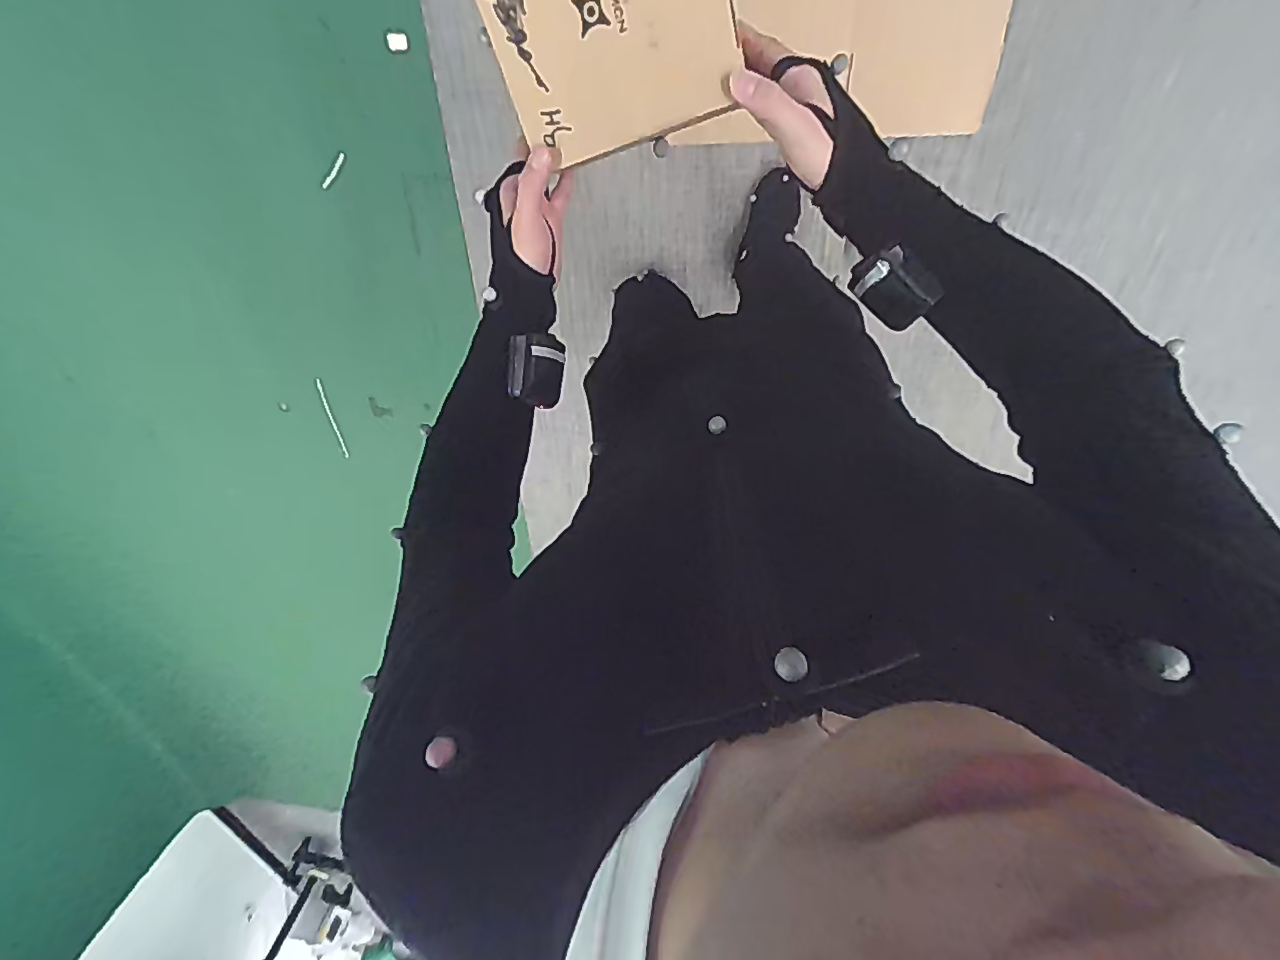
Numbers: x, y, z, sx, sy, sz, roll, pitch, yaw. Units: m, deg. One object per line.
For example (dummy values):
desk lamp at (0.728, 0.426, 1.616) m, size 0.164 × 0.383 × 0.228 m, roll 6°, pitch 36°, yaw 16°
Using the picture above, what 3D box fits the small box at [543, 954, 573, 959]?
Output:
small box at (-0.212, 1.496, 1.546) m, size 0.179 × 0.176 × 0.168 m, roll 6°, pitch 124°, yaw 7°

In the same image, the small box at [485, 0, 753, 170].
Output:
small box at (-0.011, -0.378, 0.447) m, size 0.179 × 0.176 × 0.168 m, roll -10°, pitch 120°, yaw 15°

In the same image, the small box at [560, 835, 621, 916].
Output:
small box at (-0.159, 1.328, 1.822) m, size 0.179 × 0.176 × 0.168 m, roll 5°, pitch 125°, yaw 8°
